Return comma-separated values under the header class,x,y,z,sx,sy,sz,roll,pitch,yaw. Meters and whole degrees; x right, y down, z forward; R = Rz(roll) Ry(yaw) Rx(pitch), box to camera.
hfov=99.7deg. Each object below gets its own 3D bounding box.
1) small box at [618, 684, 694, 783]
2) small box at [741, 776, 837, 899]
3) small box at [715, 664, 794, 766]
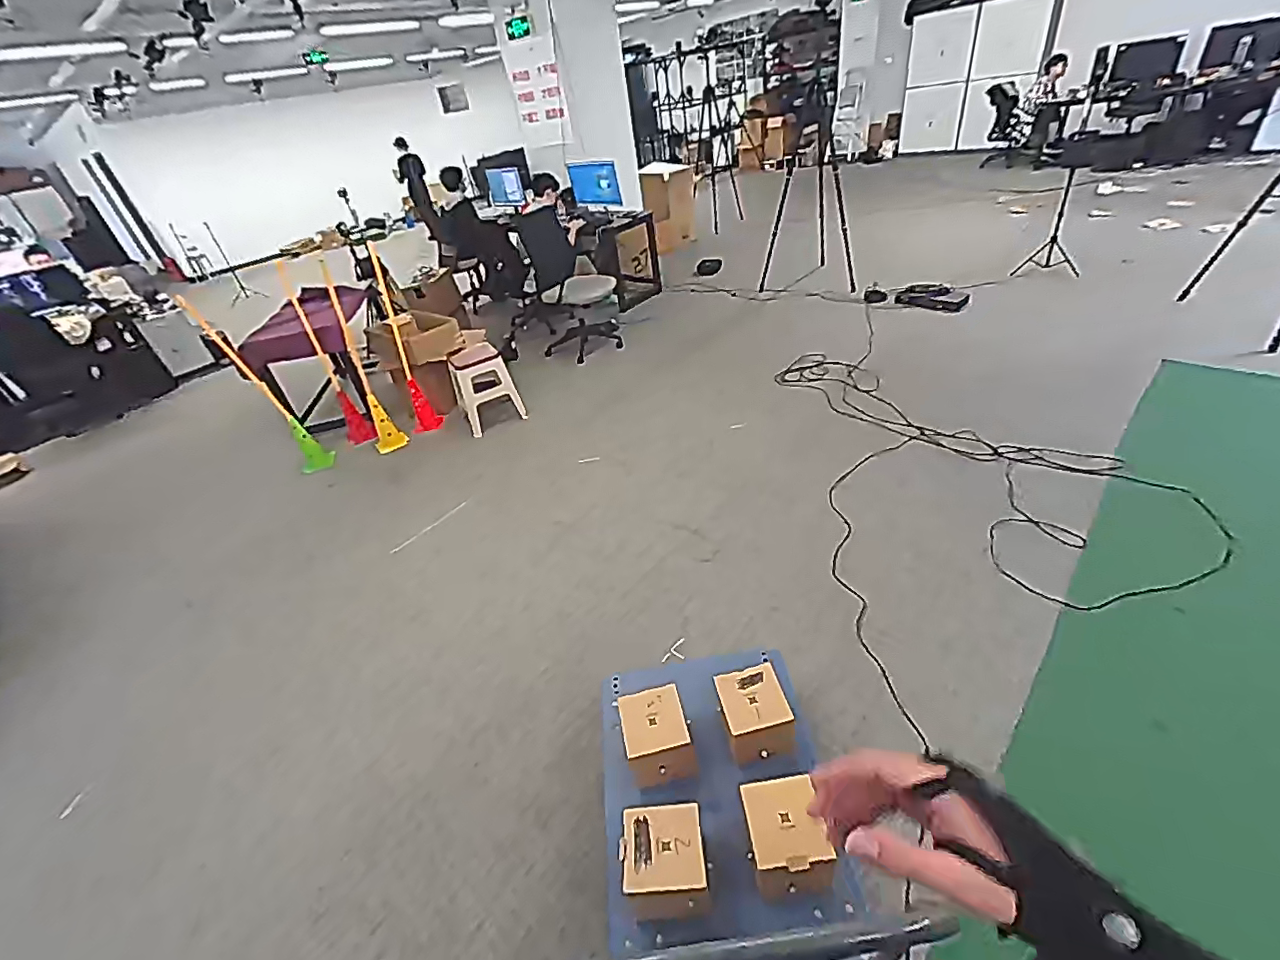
class,x,y,z,sx,sy,sz,roll,pitch,yaw
small box,0.043,0.690,1.458,0.168,0.176,0.179,-12,36,-4
small box,0.329,0.810,1.228,0.168,0.176,0.179,-10,36,1
small box,0.306,0.636,1.466,0.168,0.176,0.179,-13,37,-3
